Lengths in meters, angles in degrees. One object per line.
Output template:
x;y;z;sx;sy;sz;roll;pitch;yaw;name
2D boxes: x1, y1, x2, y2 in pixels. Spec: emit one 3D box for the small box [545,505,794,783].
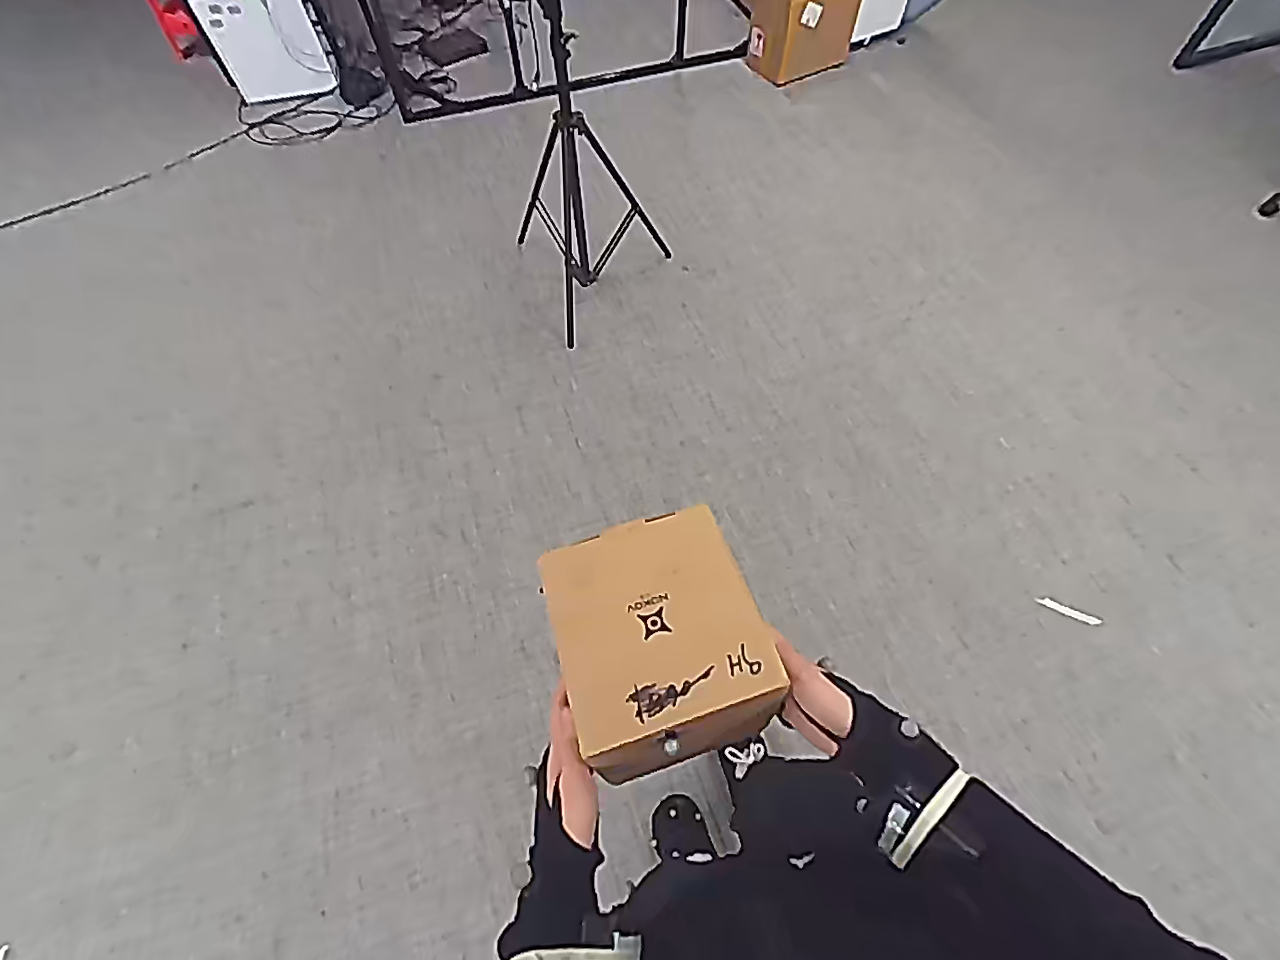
0.021;0.157;0.509;0.168;0.176;0.179;-17;54;-7;small box
